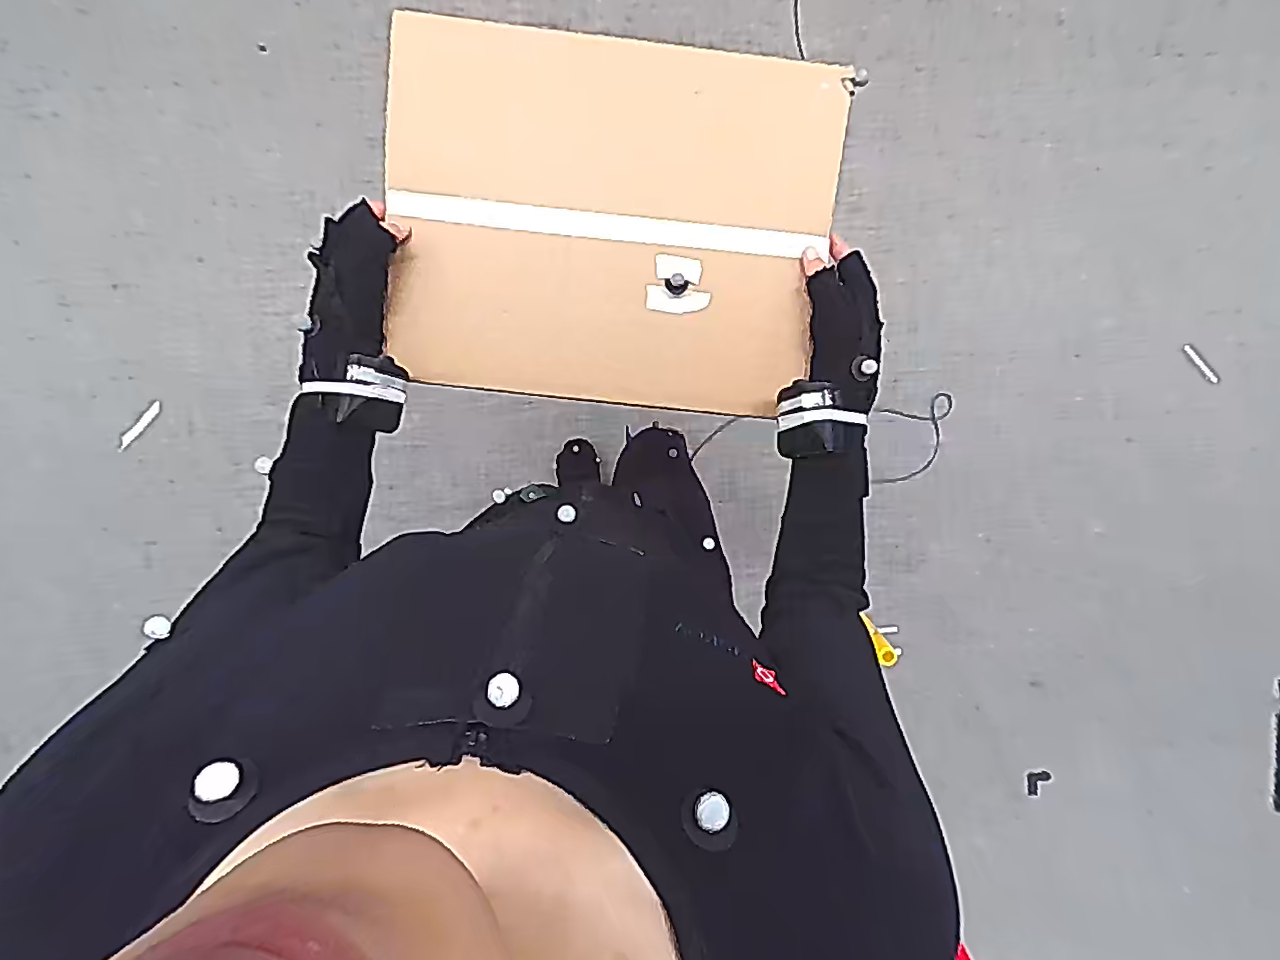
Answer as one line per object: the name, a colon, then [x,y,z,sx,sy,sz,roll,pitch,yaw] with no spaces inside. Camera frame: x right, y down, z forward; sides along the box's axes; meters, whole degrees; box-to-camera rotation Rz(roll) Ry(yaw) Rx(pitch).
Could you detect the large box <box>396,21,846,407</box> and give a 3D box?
large box: [-0.028,-0.258,0.649,0.408,0.320,0.320,6,98,-2]
